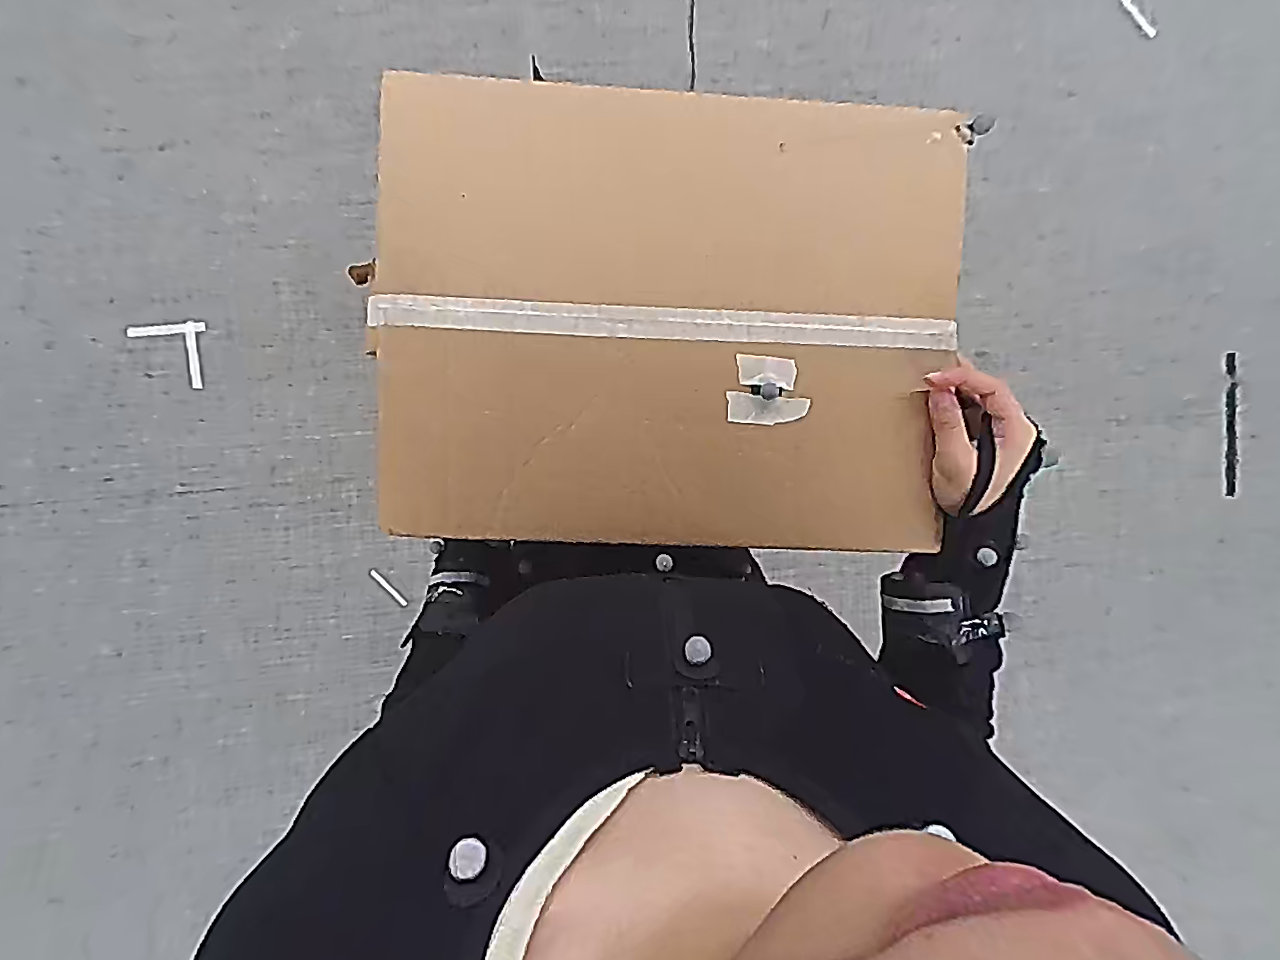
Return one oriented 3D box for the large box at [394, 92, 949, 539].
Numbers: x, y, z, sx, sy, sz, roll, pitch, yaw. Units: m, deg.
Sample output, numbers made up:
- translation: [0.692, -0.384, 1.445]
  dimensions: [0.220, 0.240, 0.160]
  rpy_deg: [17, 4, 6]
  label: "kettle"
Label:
- translation: [0.016, -0.119, 0.537]
  dimensions: [0.408, 0.320, 0.320]
  rpy_deg: [1, 94, -4]
  label: "large box"
